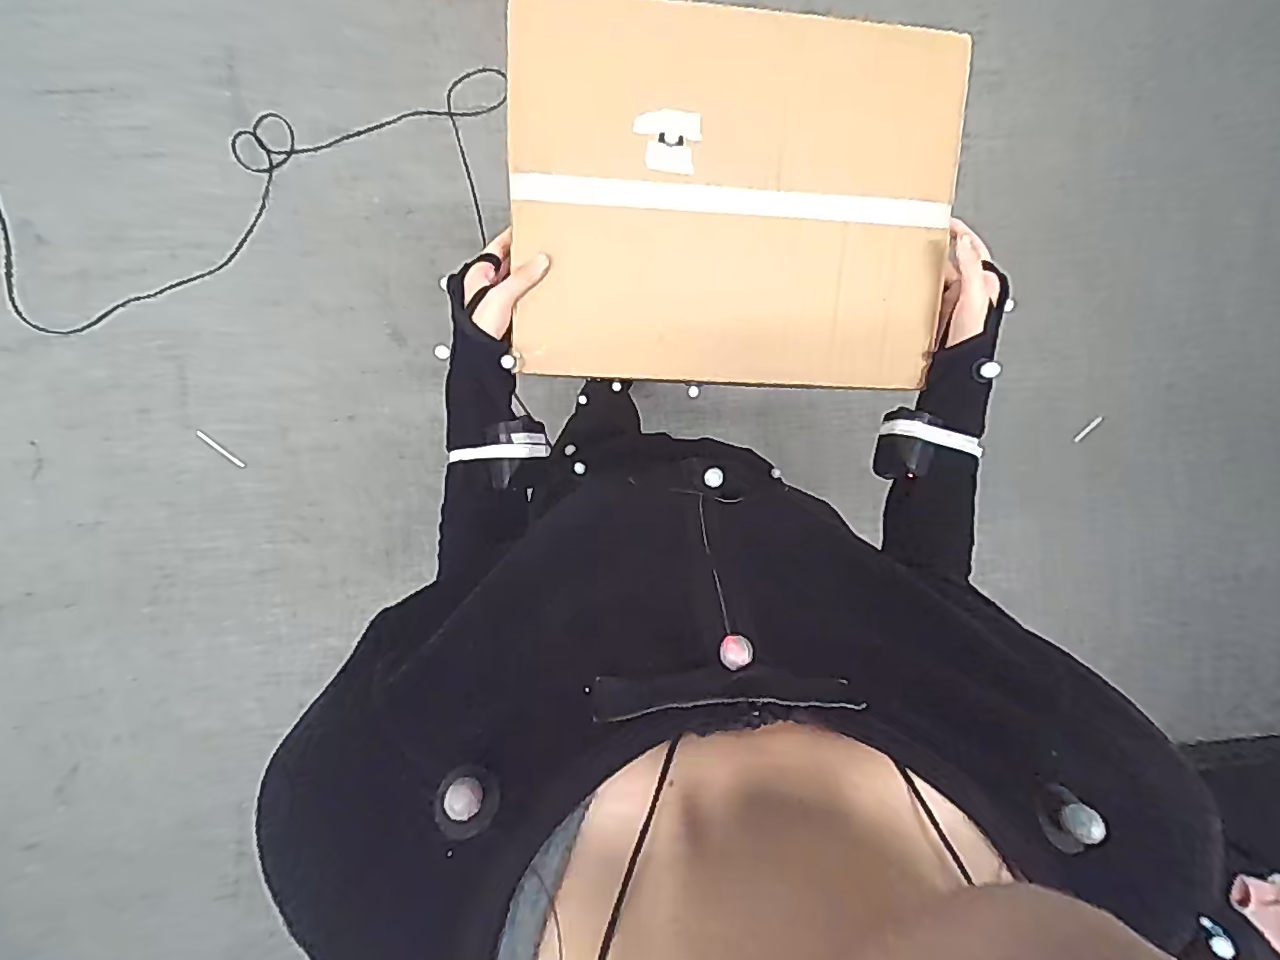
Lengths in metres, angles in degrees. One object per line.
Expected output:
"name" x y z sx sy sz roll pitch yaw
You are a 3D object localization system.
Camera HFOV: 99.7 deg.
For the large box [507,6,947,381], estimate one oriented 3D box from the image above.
"large box" 0.070 -0.281 0.649 0.408 0.320 0.320 1 99 -5
